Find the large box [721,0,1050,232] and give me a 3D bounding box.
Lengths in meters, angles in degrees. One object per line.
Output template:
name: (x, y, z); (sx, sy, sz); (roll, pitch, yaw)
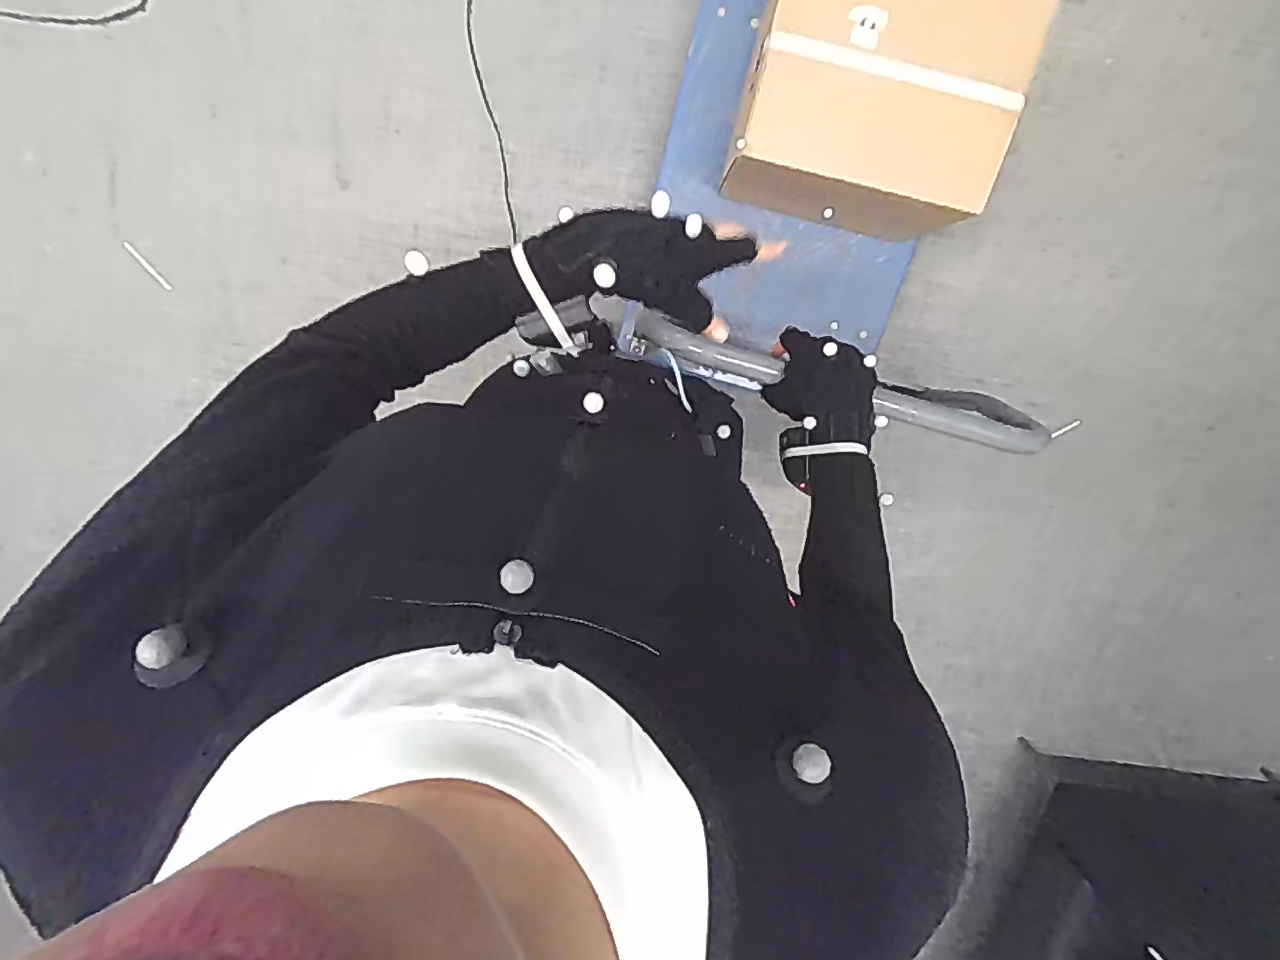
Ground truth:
large box: (0.392, -0.668, 0.972); (0.408, 0.320, 0.320); (13, 105, -2)
